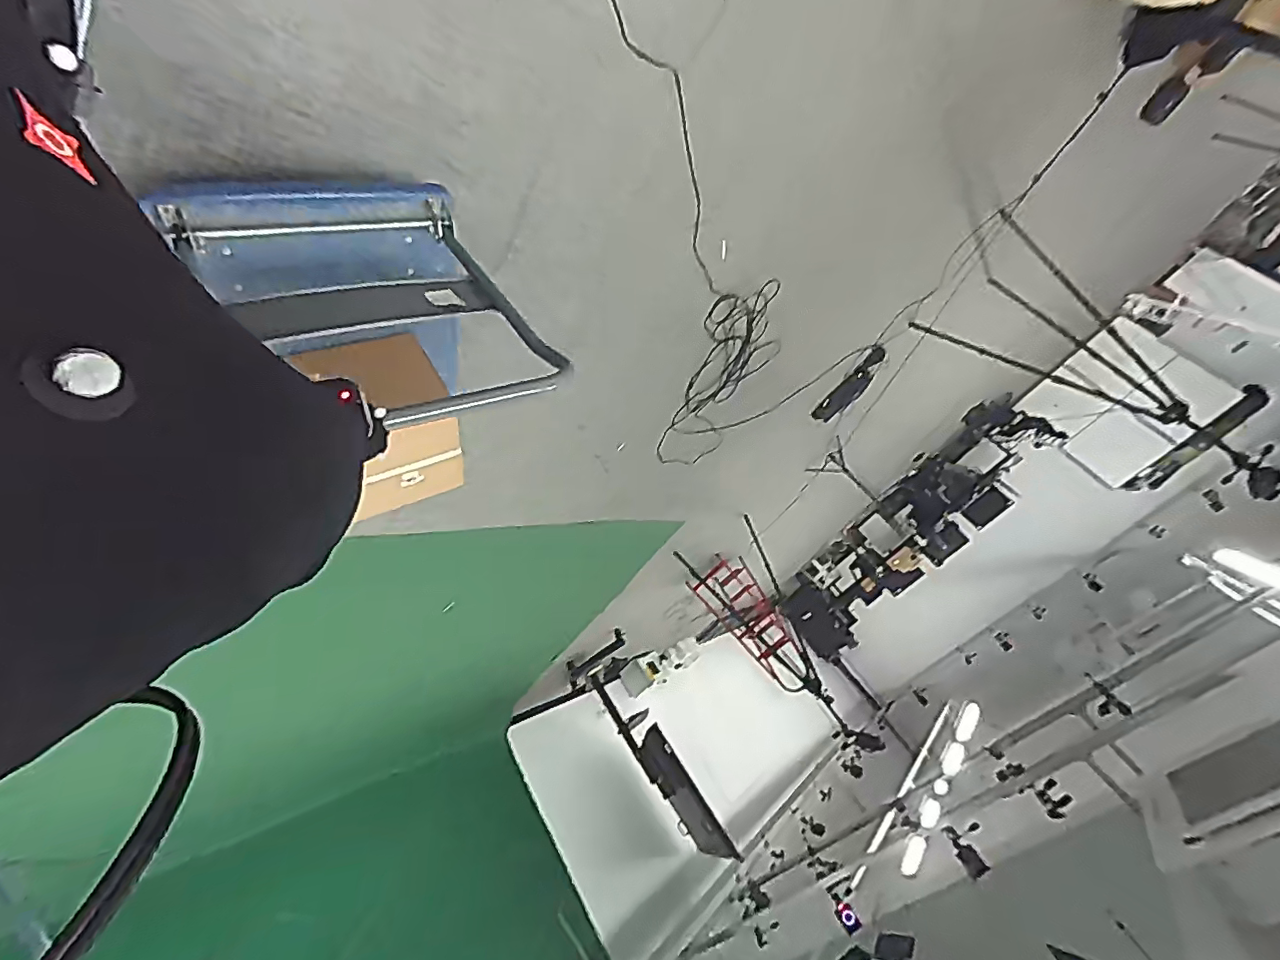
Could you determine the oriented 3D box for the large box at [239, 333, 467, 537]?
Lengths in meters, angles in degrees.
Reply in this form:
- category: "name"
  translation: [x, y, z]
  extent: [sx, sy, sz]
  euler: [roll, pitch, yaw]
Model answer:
- category: "large box"
  translation: [-0.709, -0.126, 1.385]
  extent: [0.408, 0.320, 0.320]
  euler: [-24, 151, -28]
